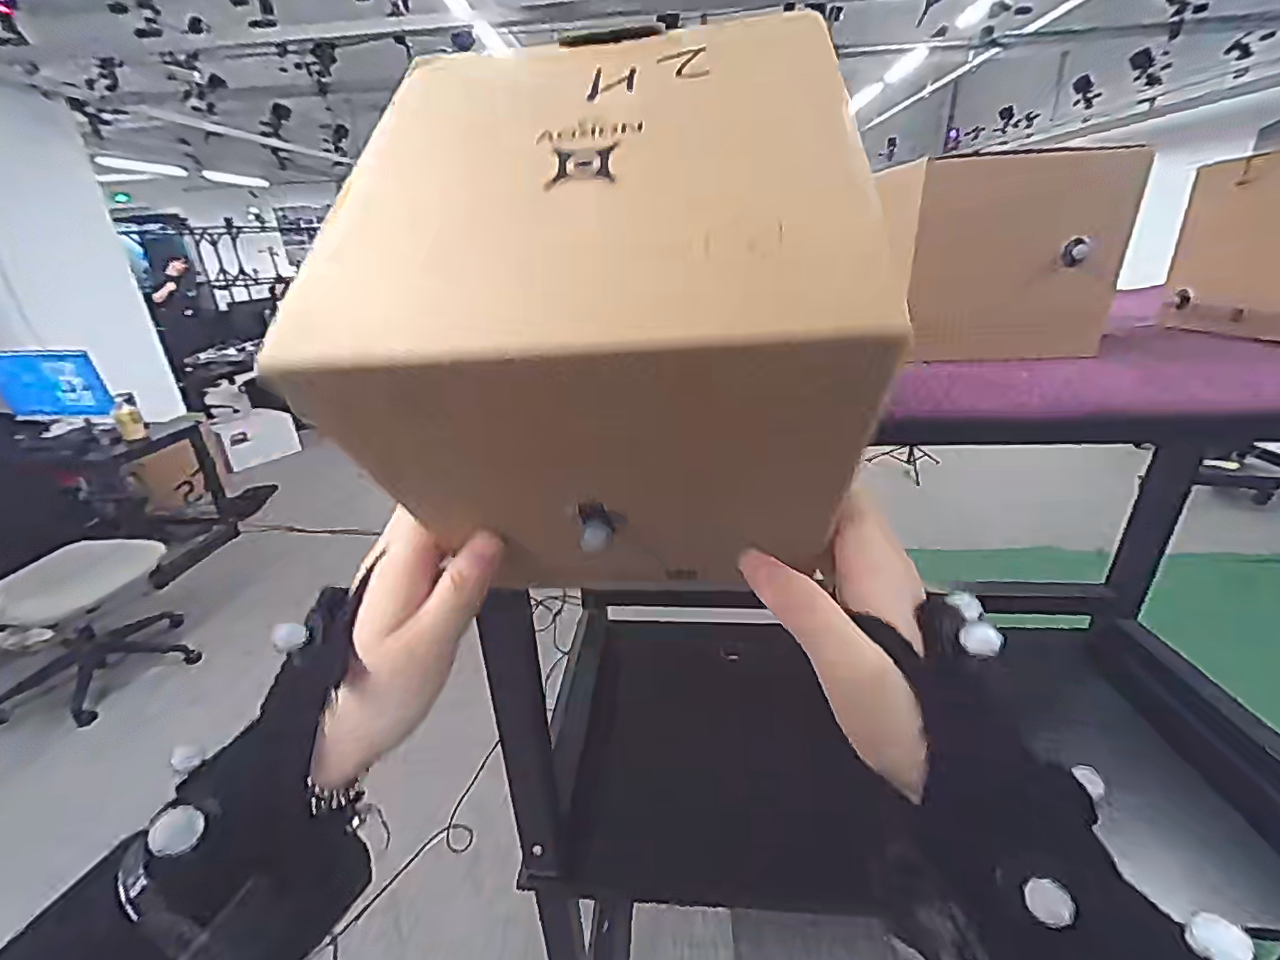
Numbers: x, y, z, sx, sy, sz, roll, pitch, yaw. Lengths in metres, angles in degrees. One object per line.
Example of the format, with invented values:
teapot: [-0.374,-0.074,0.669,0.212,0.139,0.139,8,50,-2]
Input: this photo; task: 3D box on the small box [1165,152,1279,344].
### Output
small box: [0.669,-0.226,0.522,0.179,0.176,0.168,0,22,6]

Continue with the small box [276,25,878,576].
small box: [-0.007,-0.065,0.250,0.168,0.176,0.179,0,58,7]

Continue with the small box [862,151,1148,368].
small box: [0.320,-0.211,0.531,0.179,0.176,0.168,-2,23,4]
